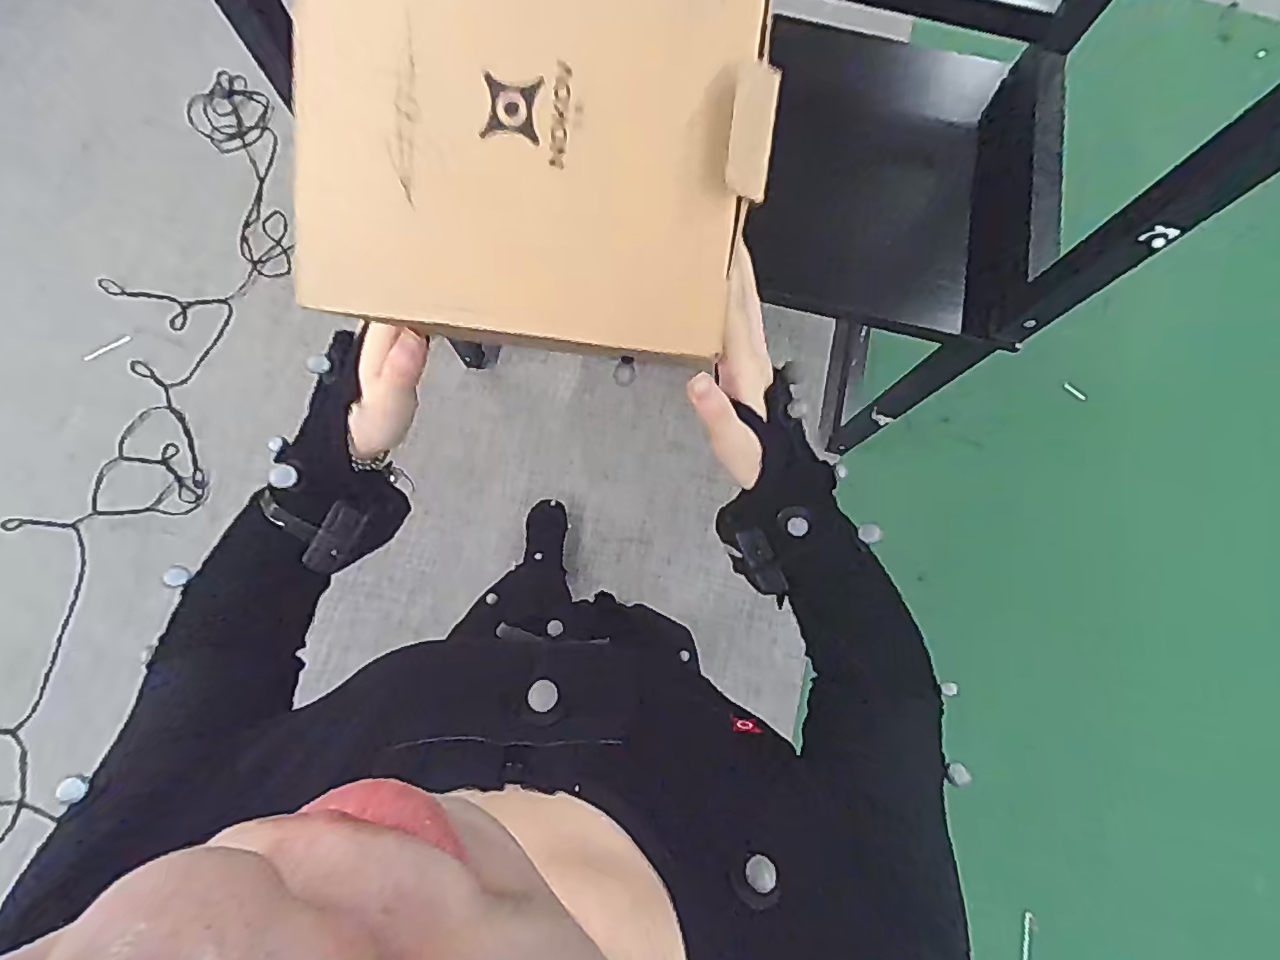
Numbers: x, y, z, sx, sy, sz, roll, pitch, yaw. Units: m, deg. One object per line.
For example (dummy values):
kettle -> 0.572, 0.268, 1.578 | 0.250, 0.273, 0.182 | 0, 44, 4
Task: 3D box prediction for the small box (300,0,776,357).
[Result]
small box -> -0.039, -0.157, 0.282 | 0.179, 0.176, 0.168 | 7, 101, 2
